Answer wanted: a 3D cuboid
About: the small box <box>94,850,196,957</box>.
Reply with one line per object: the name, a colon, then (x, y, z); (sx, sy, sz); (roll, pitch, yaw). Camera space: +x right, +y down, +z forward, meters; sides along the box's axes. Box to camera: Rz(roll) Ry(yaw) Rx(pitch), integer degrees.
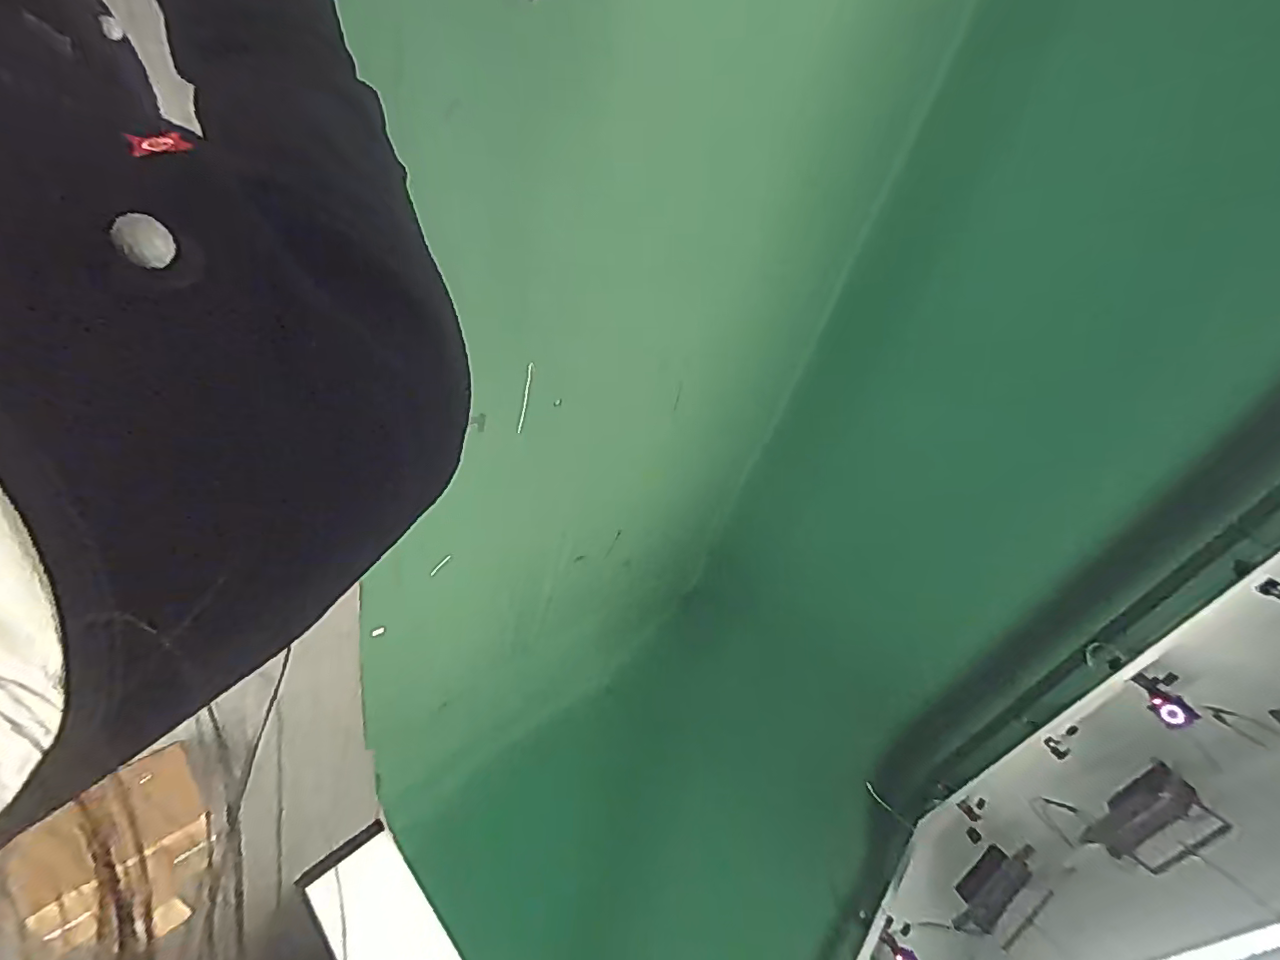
small box: (-1.480, 1.257, 1.617); (0.168, 0.176, 0.179); (-26, 143, -41)
